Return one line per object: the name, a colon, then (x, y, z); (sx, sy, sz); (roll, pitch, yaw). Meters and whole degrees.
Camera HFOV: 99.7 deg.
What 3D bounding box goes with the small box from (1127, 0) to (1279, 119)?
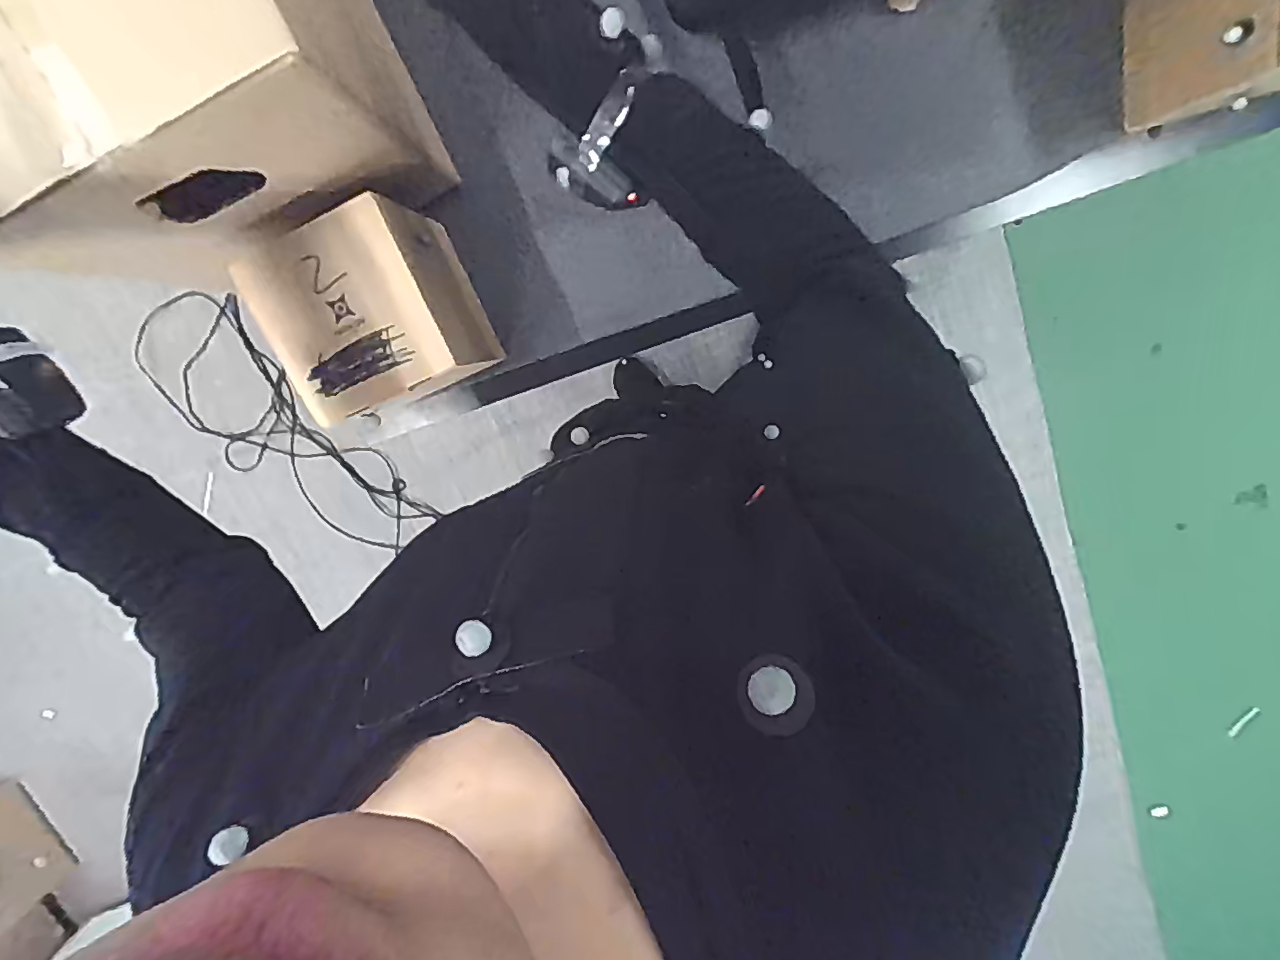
small box: (0.583, -0.463, 0.479); (0.168, 0.176, 0.179); (-13, 108, 8)
